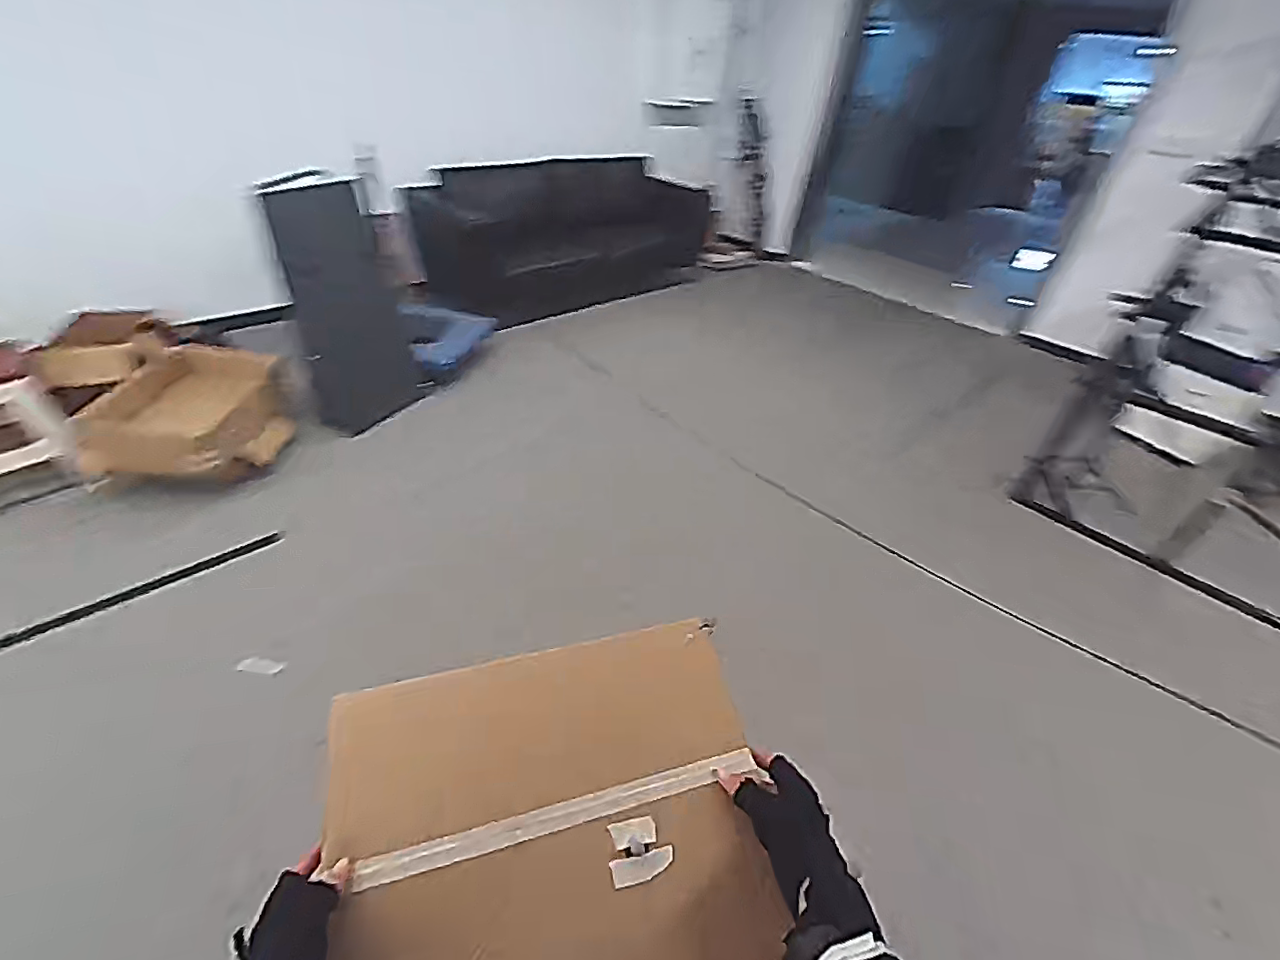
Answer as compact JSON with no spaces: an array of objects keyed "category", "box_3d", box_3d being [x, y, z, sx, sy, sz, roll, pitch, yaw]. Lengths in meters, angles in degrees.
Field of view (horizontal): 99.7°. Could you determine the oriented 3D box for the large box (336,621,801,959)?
[{"category":"large box","box_3d":[-0.099,0.410,0.643,0.408,0.320,0.320,-9,58,-16]}]
